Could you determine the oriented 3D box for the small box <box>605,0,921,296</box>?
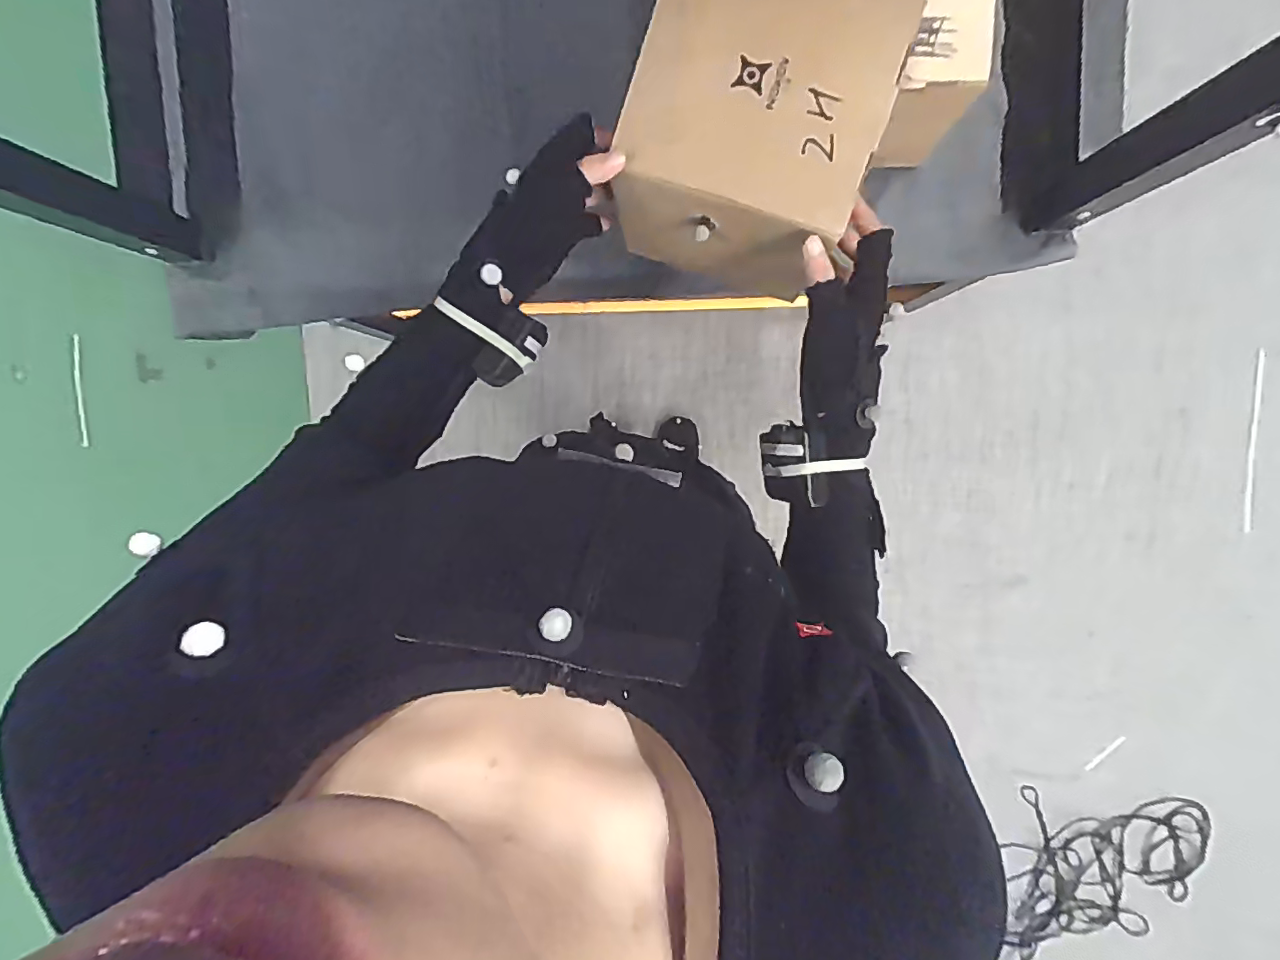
[{"bbox_3d":[0.088,-0.273,0.452,0.179,0.176,0.168,19,95,3],"label":"small box"}]
